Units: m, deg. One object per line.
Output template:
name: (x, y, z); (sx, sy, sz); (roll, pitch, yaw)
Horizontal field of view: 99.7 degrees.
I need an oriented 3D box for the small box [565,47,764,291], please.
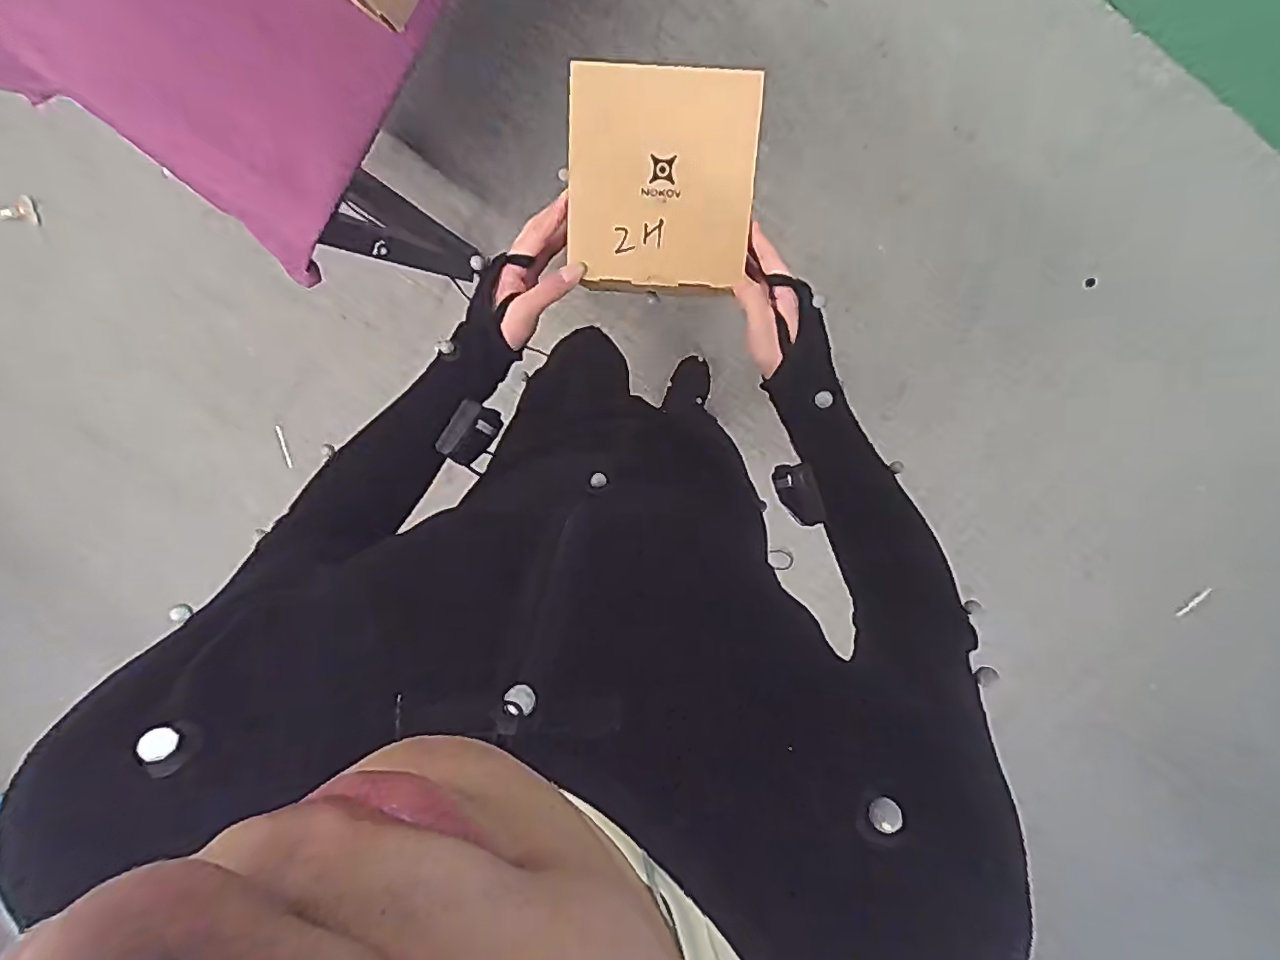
small box: (0.019, -0.294, 0.550); (0.168, 0.176, 0.179); (4, 107, 1)
